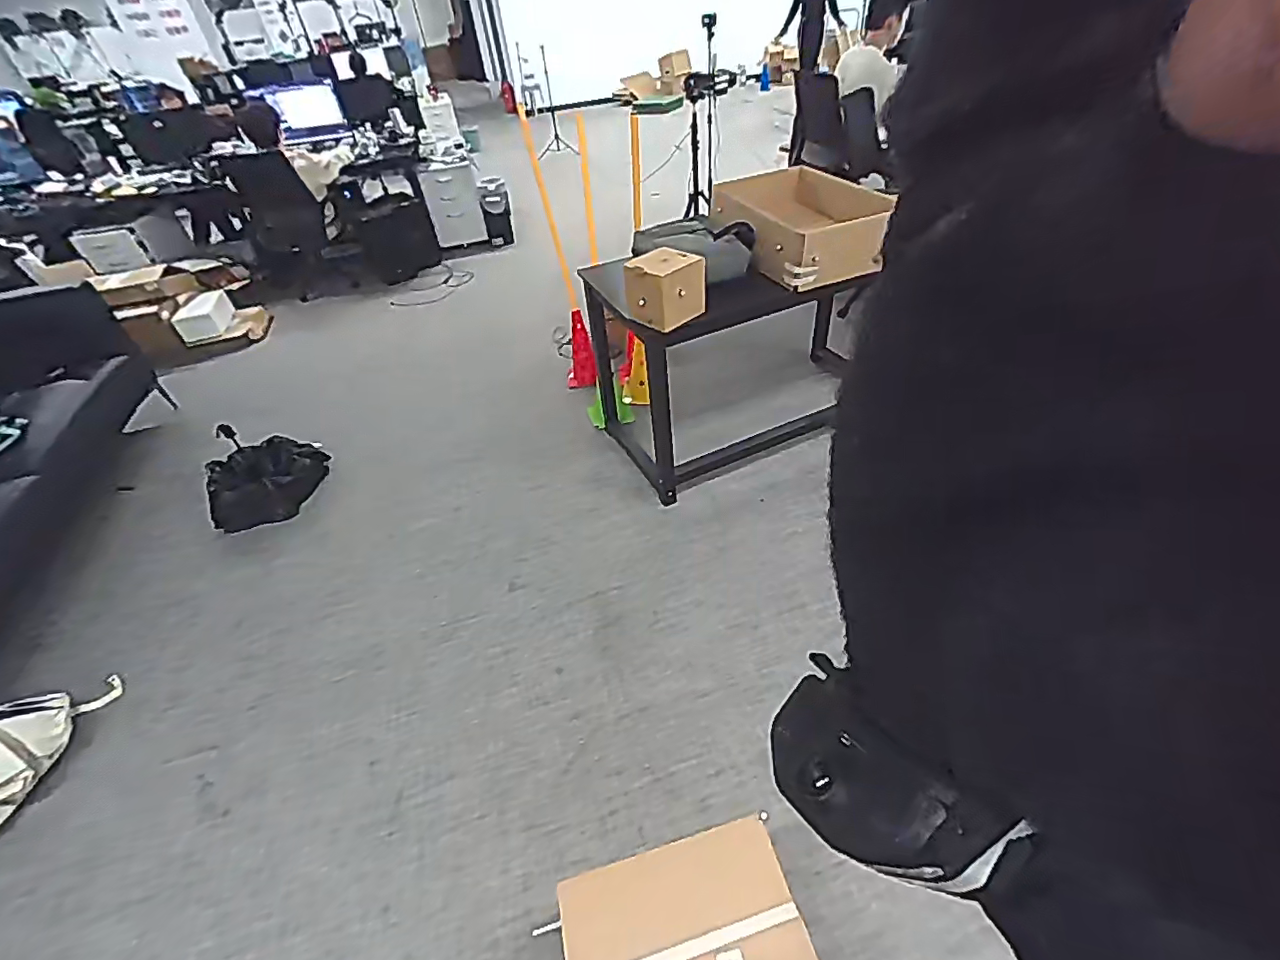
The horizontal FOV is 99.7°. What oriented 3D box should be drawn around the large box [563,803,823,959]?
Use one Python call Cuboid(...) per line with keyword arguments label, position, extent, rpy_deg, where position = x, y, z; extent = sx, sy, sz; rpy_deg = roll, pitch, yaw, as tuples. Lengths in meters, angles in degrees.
Cuboid(label="large box", position=(0.099, 0.888, 1.019), extent=(0.408, 0.320, 0.320), rpy_deg=(-15, 44, -7))
